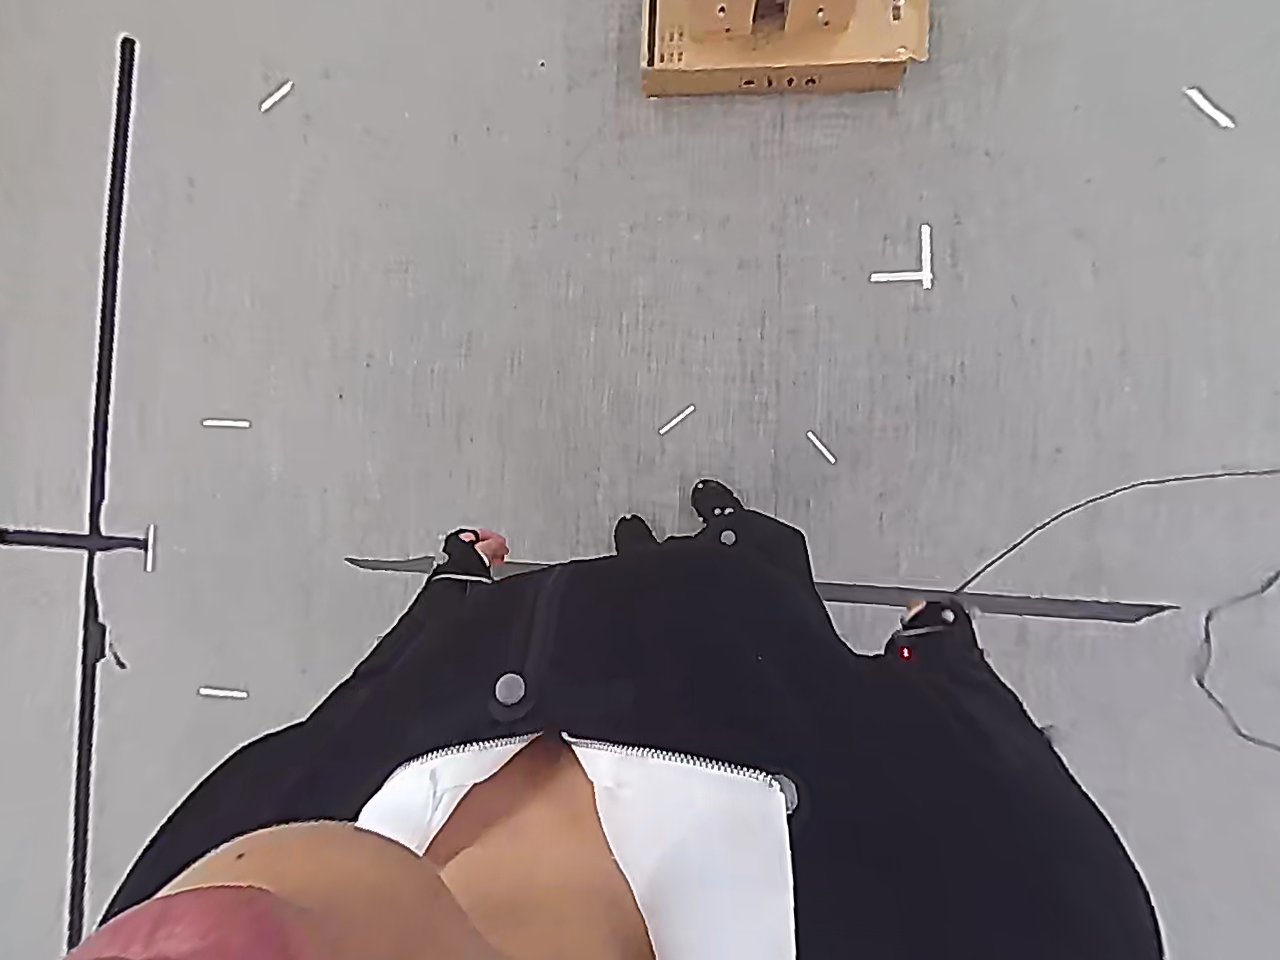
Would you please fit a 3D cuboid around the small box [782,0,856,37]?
[{"bbox_3d":[0.446,-1.246,1.331,0.168,0.176,0.179,1,87,6],"label":"small box"}]

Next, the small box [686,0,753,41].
[{"bbox_3d":[0.199,-1.245,1.353,0.168,0.176,0.179,-1,88,5],"label":"small box"}]
